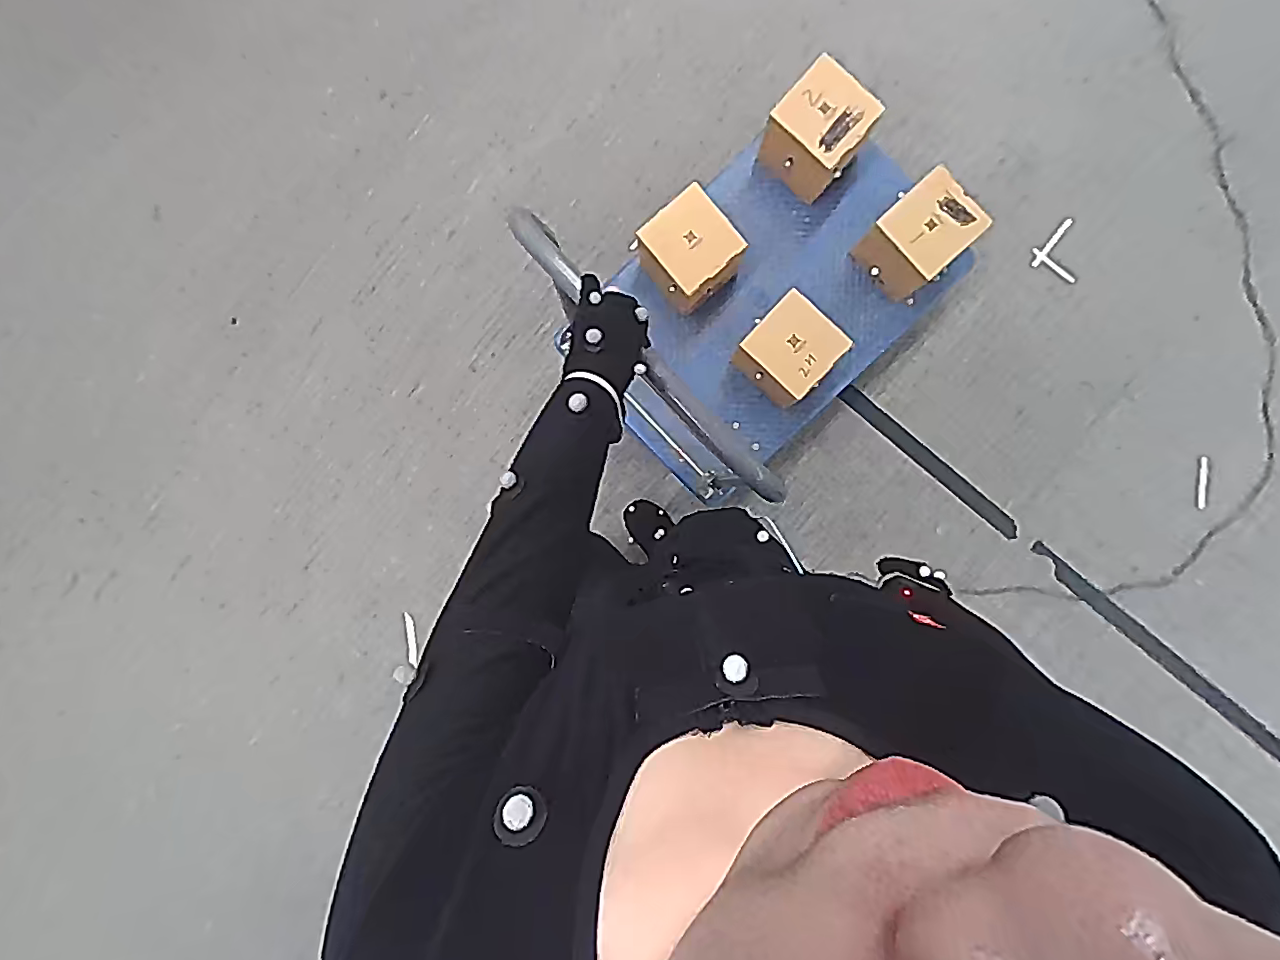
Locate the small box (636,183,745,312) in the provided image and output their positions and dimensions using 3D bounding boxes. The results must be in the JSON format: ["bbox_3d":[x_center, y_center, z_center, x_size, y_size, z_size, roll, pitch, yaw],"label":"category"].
[{"bbox_3d":[0.106,-0.507,1.209,0.168,0.176,0.179,-40,91,3],"label":"small box"}]

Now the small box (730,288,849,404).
[{"bbox_3d":[0.322,-0.287,1.209,0.179,0.176,0.168,44,93,0],"label":"small box"}]

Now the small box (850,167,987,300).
[{"bbox_3d":[0.600,-0.531,1.191,0.179,0.176,0.168,-42,90,4],"label":"small box"}]
